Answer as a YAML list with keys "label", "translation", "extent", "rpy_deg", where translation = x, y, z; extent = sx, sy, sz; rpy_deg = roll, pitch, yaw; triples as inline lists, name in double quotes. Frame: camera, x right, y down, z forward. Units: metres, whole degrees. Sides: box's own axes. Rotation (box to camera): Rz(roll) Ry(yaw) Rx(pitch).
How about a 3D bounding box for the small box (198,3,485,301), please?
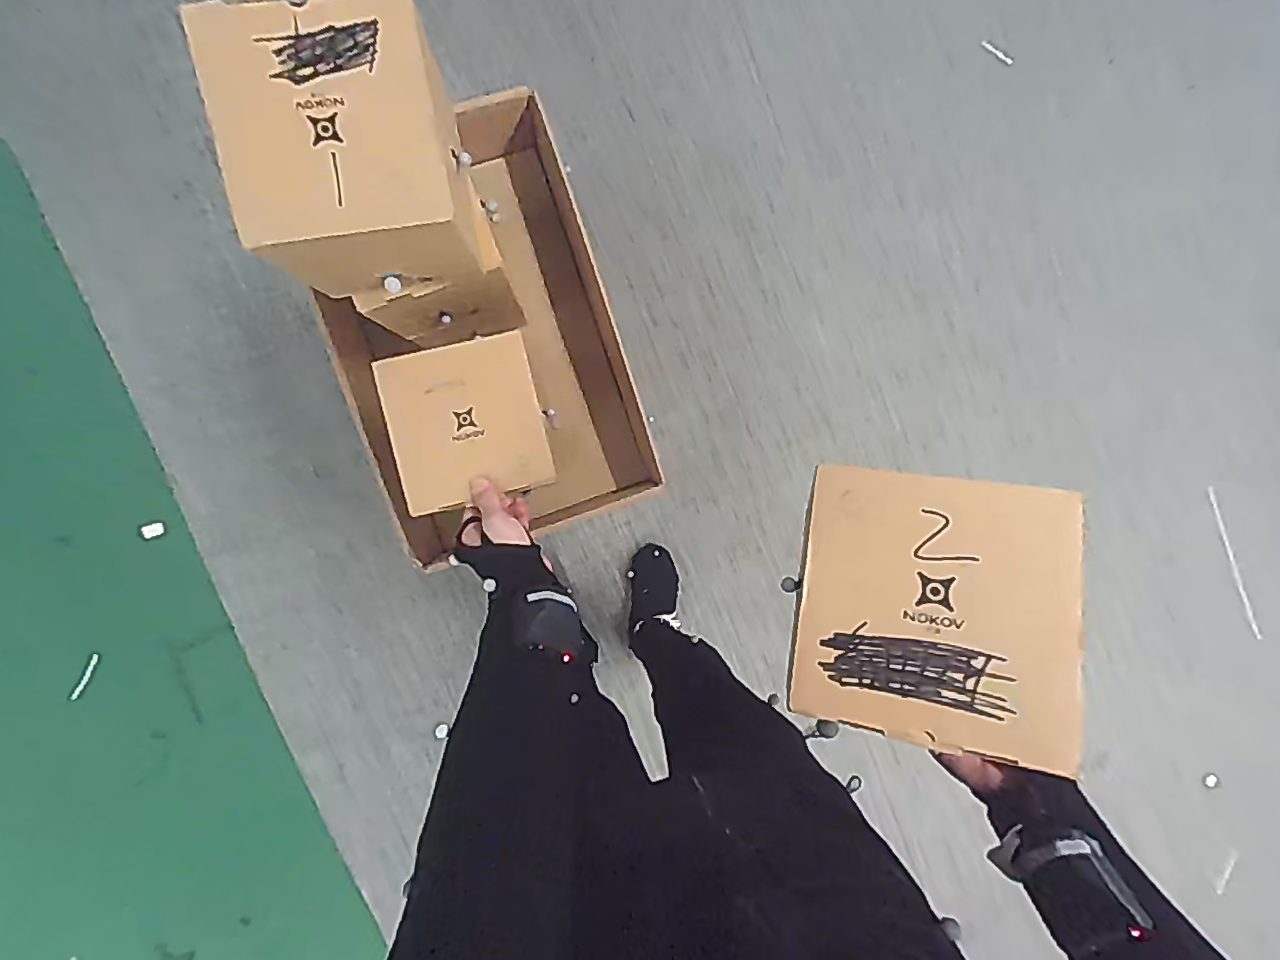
- label: "small box"
  translation: [-0.253, -0.285, 0.505]
  extent: [0.168, 0.176, 0.179]
  rpy_deg: [-10, 96, -6]

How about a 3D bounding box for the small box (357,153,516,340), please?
- label: "small box"
  translation: [-0.265, -0.294, 0.669]
  extent: [0.168, 0.176, 0.179]
  rpy_deg: [-20, 96, -5]

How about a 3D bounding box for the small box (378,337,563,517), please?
- label: "small box"
  translation: [-0.196, -0.059, 0.678]
  extent: [0.168, 0.176, 0.179]
  rpy_deg: [-13, 90, -5]

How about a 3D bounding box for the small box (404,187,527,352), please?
- label: "small box"
  translation: [-0.283, -0.307, 0.829]
  extent: [0.168, 0.176, 0.179]
  rpy_deg: [-19, 96, -4]
